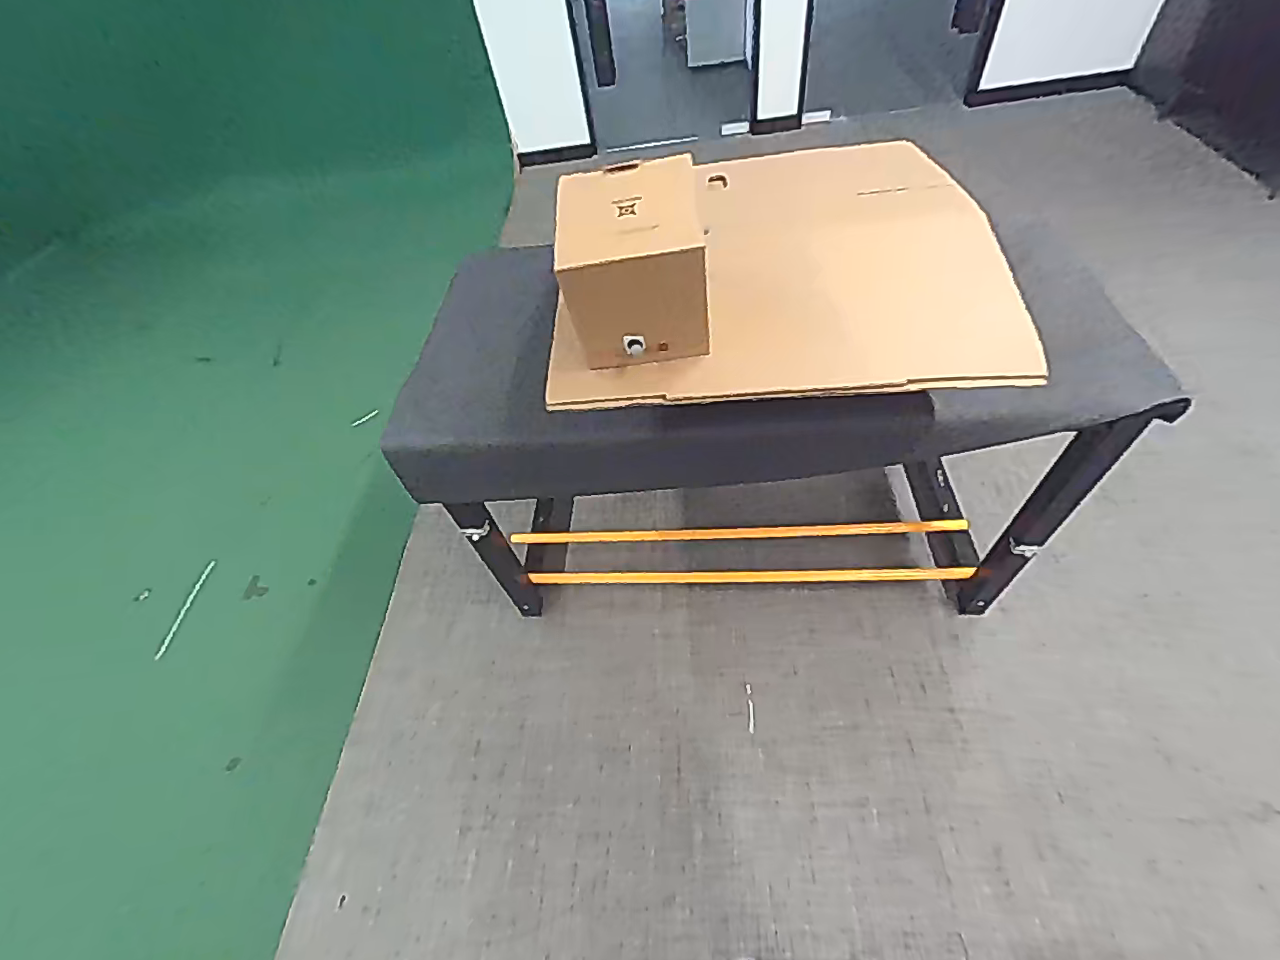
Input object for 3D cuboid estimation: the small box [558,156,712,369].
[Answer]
[{"bbox_3d":[-0.001,-0.269,0.688,0.168,0.176,0.179,-8,60,6],"label":"small box"}]
